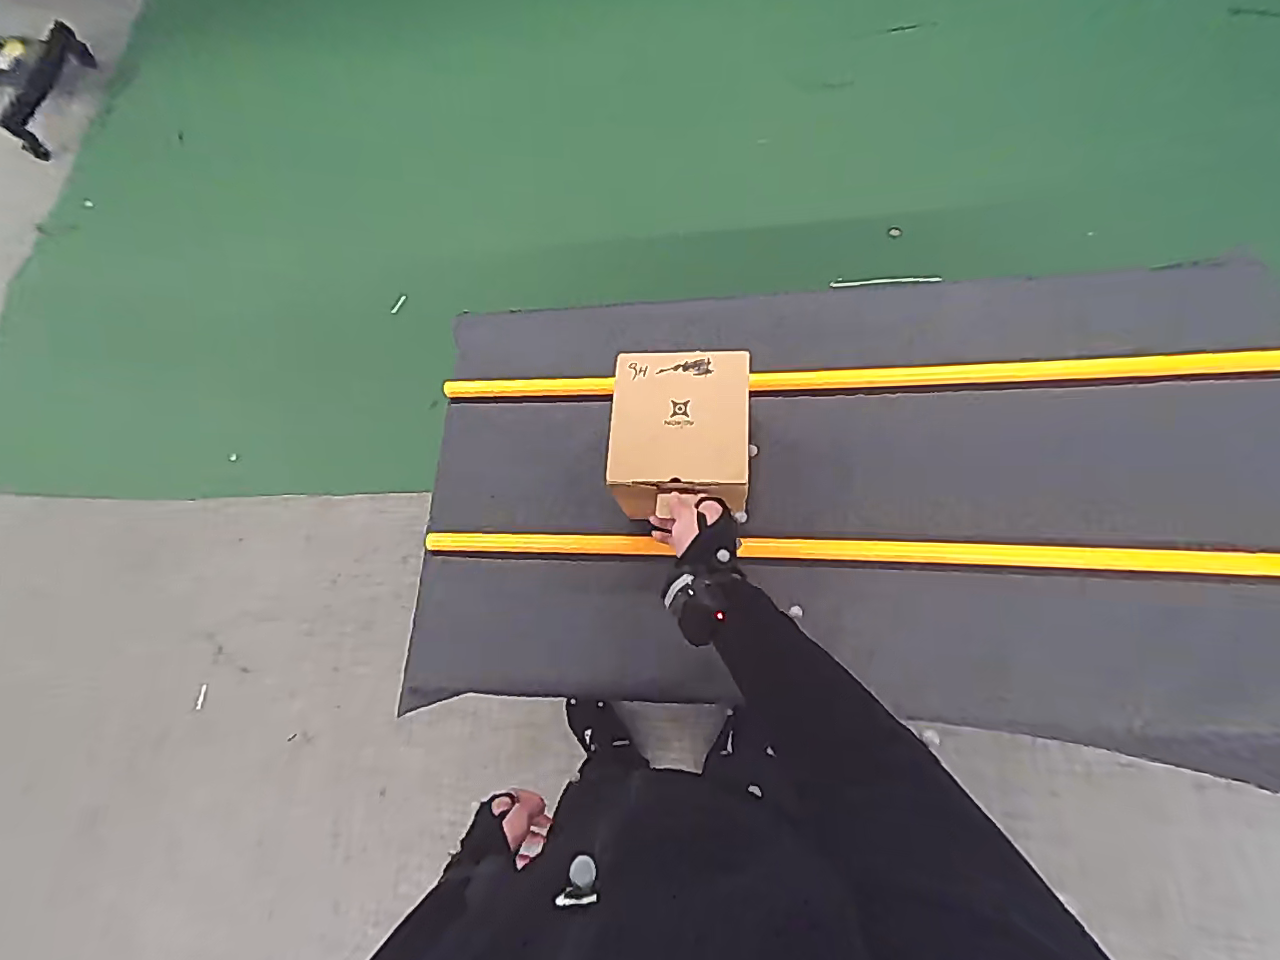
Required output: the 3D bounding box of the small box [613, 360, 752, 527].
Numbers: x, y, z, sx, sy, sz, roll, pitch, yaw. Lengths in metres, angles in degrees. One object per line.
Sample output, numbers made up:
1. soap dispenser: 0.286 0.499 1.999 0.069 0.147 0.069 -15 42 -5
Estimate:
1. small box: 0.064 -0.037 0.725 0.168 0.176 0.179 -3 69 10
